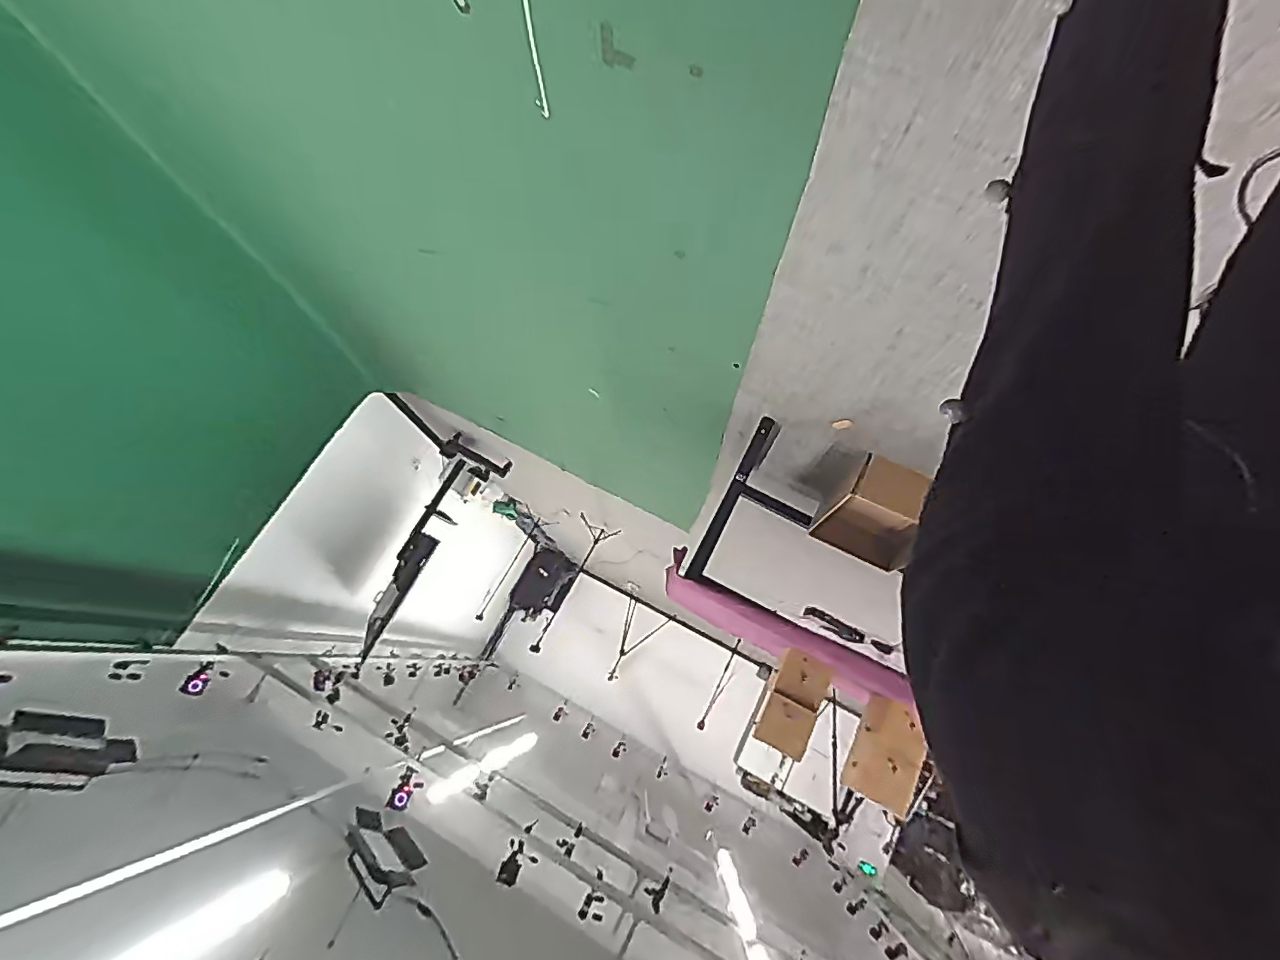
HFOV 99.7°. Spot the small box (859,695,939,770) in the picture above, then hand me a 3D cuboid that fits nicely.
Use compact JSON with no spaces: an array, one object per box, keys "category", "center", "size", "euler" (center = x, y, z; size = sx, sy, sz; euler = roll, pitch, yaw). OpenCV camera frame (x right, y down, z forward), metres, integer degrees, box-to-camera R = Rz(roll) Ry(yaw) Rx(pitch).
[{"category":"small box","center":[0.898,0.865,1.873],"size":[0.168,0.176,0.179],"euler":[27,163,8]}]

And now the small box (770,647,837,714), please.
[{"category":"small box","center":[0.583,0.710,1.928],"size":[0.168,0.176,0.179],"euler":[25,164,13]}]

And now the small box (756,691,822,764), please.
[{"category":"small box","center":[0.511,0.845,1.861],"size":[0.168,0.176,0.179],"euler":[23,163,18]}]
